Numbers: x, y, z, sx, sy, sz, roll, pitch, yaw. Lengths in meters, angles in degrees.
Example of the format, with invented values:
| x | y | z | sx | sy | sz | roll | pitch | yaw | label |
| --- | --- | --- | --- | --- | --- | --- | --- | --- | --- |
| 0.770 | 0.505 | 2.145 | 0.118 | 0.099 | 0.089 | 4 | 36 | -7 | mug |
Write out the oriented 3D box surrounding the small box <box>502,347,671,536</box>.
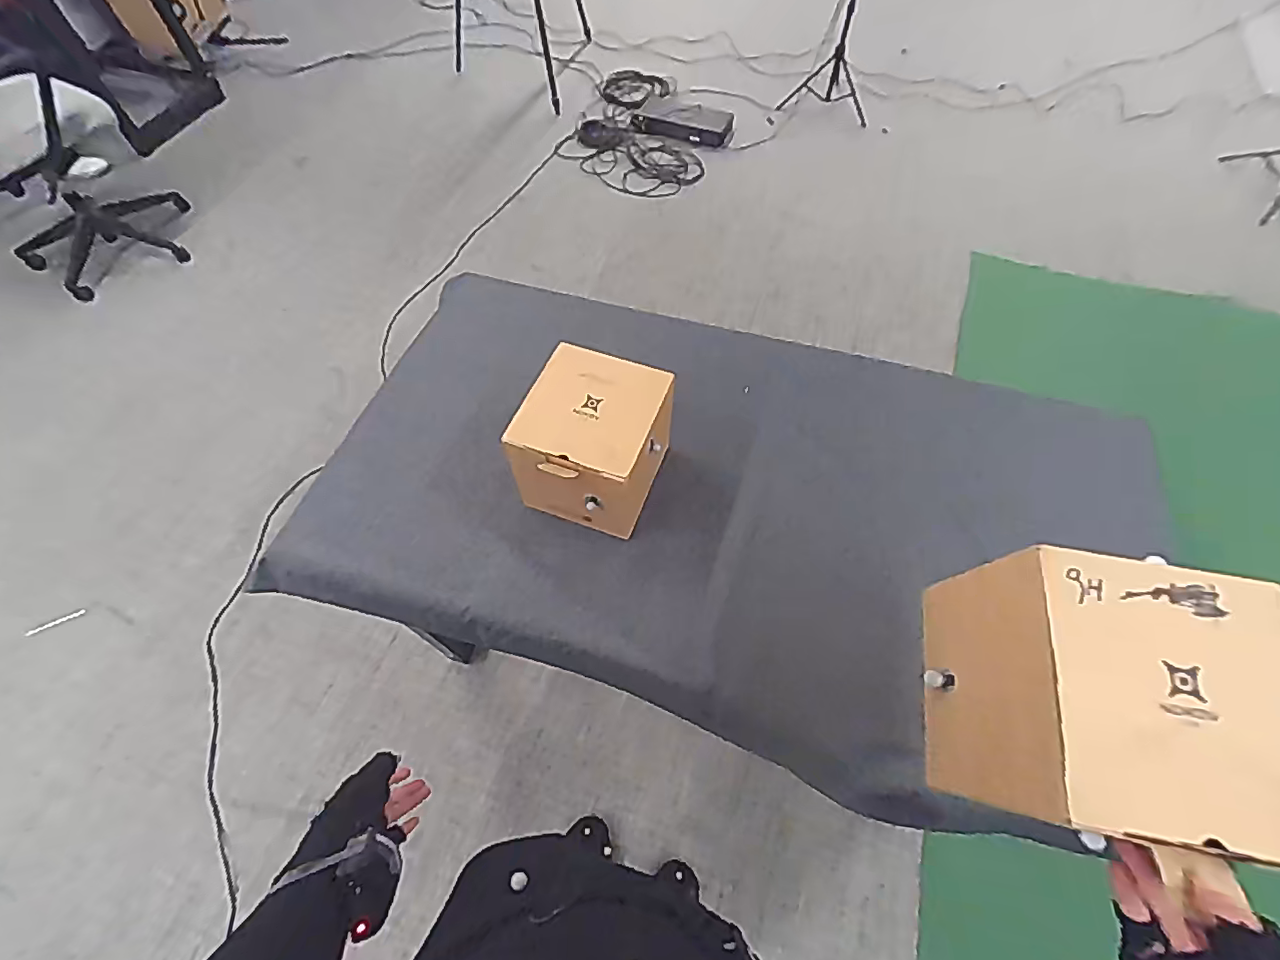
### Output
| x | y | z | sx | sy | sz | roll | pitch | yaw | label |
| --- | --- | --- | --- | --- | --- | --- | --- | --- | --- |
| -0.063 | -0.046 | 0.745 | 0.168 | 0.176 | 0.179 | 17 | 59 | 9 | small box |

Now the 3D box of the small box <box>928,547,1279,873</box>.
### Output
| x | y | z | sx | sy | sz | roll | pitch | yaw | label |
| --- | --- | --- | --- | --- | --- | --- | --- | --- | --- |
| 0.344 | 0.167 | 0.417 | 0.168 | 0.176 | 0.179 | 9 | 68 | 3 | small box |
